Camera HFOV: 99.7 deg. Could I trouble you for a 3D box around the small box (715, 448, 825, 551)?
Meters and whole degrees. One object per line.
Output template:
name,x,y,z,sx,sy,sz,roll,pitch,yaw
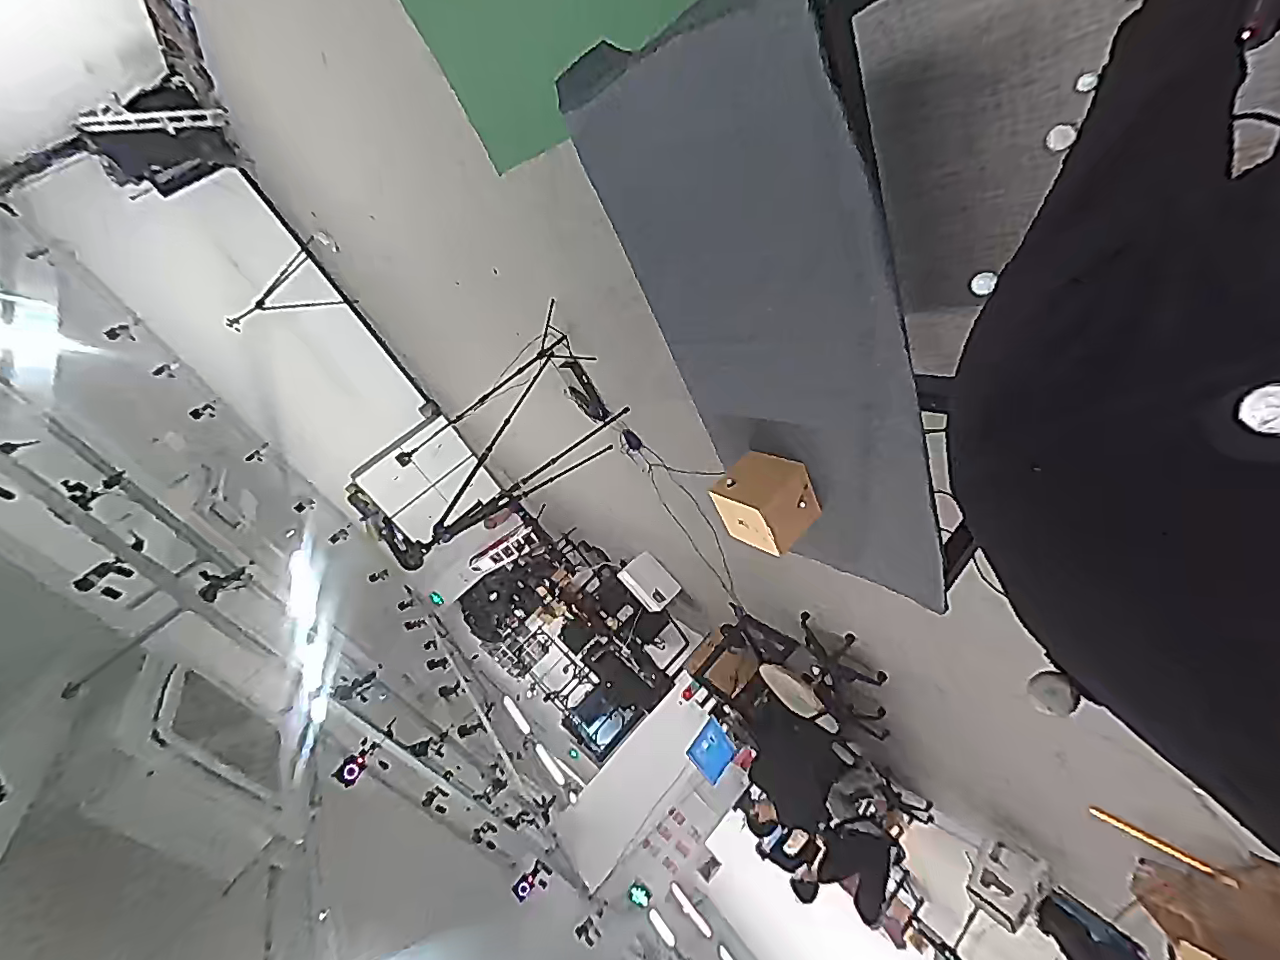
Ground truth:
small box,0.324,0.040,1.342,0.179,0.176,0.168,21,149,52
